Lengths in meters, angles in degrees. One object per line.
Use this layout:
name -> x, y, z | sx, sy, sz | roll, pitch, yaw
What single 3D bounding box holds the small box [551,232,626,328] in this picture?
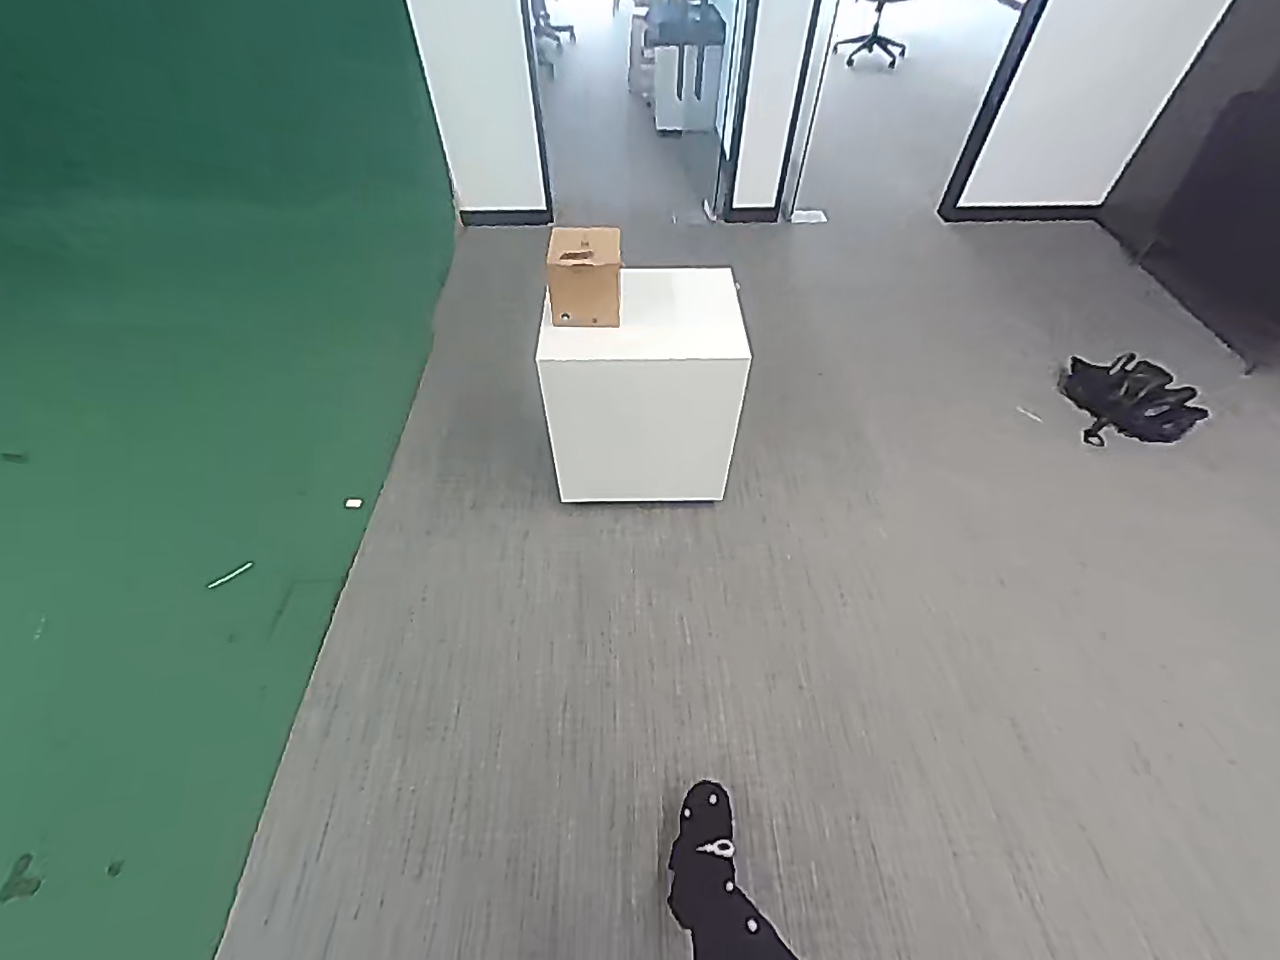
small box -> -0.120, -0.492, 1.338 | 0.168, 0.176, 0.179 | 1, 50, 0
